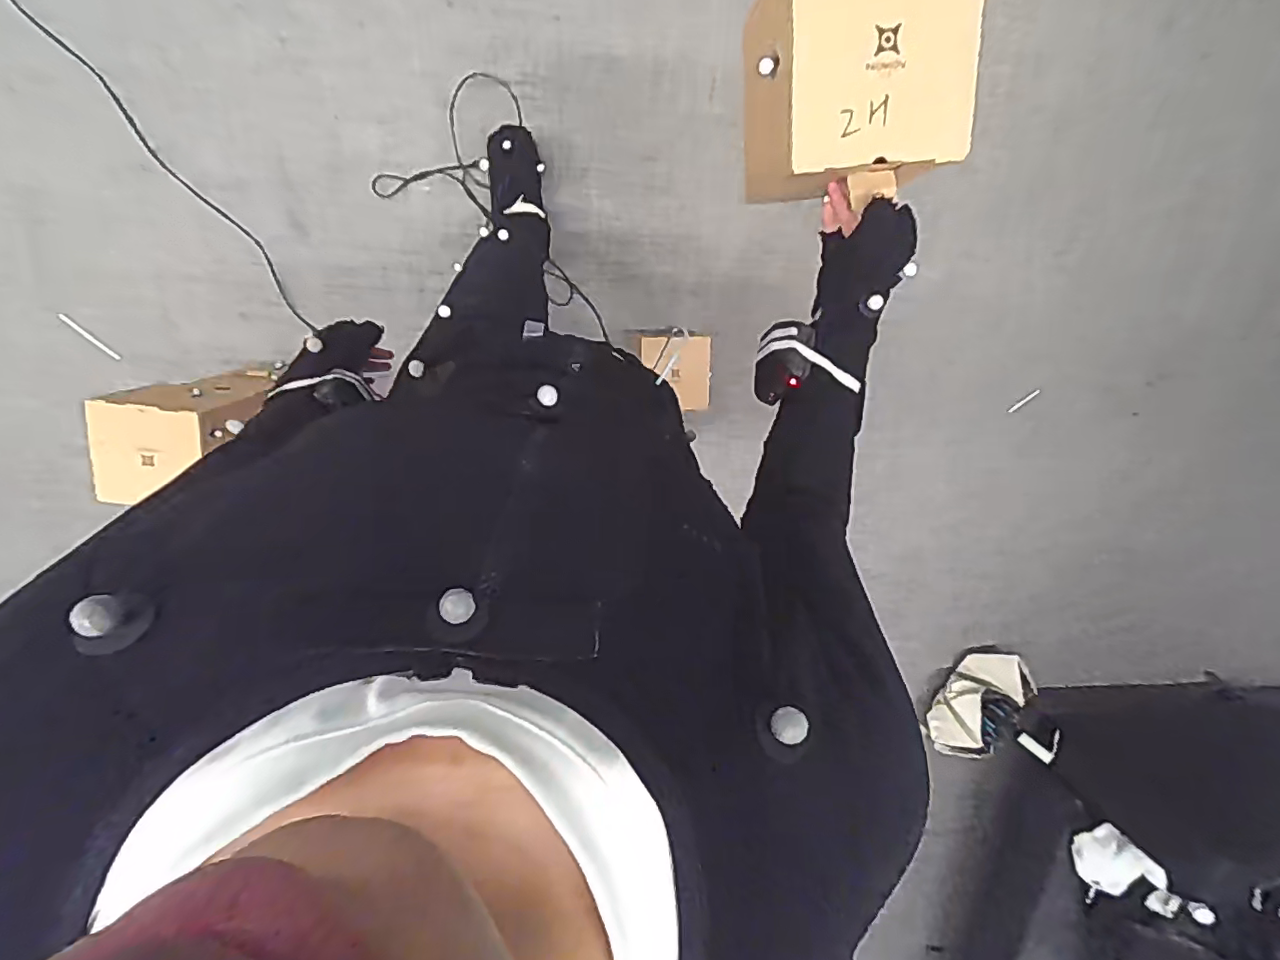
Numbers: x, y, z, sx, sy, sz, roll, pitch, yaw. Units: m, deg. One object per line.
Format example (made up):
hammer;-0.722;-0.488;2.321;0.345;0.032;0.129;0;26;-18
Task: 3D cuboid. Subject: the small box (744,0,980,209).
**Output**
small box;0.204;-0.388;0.546;0.168;0.176;0.179;-5;109;-2

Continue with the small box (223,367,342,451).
small box;-0.833;-0.173;1.277;0.168;0.176;0.179;0;107;-4

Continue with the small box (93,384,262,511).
small box;-0.810;-0.063;0.968;0.168;0.176;0.179;7;107;-9

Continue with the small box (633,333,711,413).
small box;0.074;-0.270;1.351;0.168;0.176;0.179;-2;109;-7

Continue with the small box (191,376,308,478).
small box;-0.819;-0.115;1.122;0.168;0.176;0.179;3;110;-7
